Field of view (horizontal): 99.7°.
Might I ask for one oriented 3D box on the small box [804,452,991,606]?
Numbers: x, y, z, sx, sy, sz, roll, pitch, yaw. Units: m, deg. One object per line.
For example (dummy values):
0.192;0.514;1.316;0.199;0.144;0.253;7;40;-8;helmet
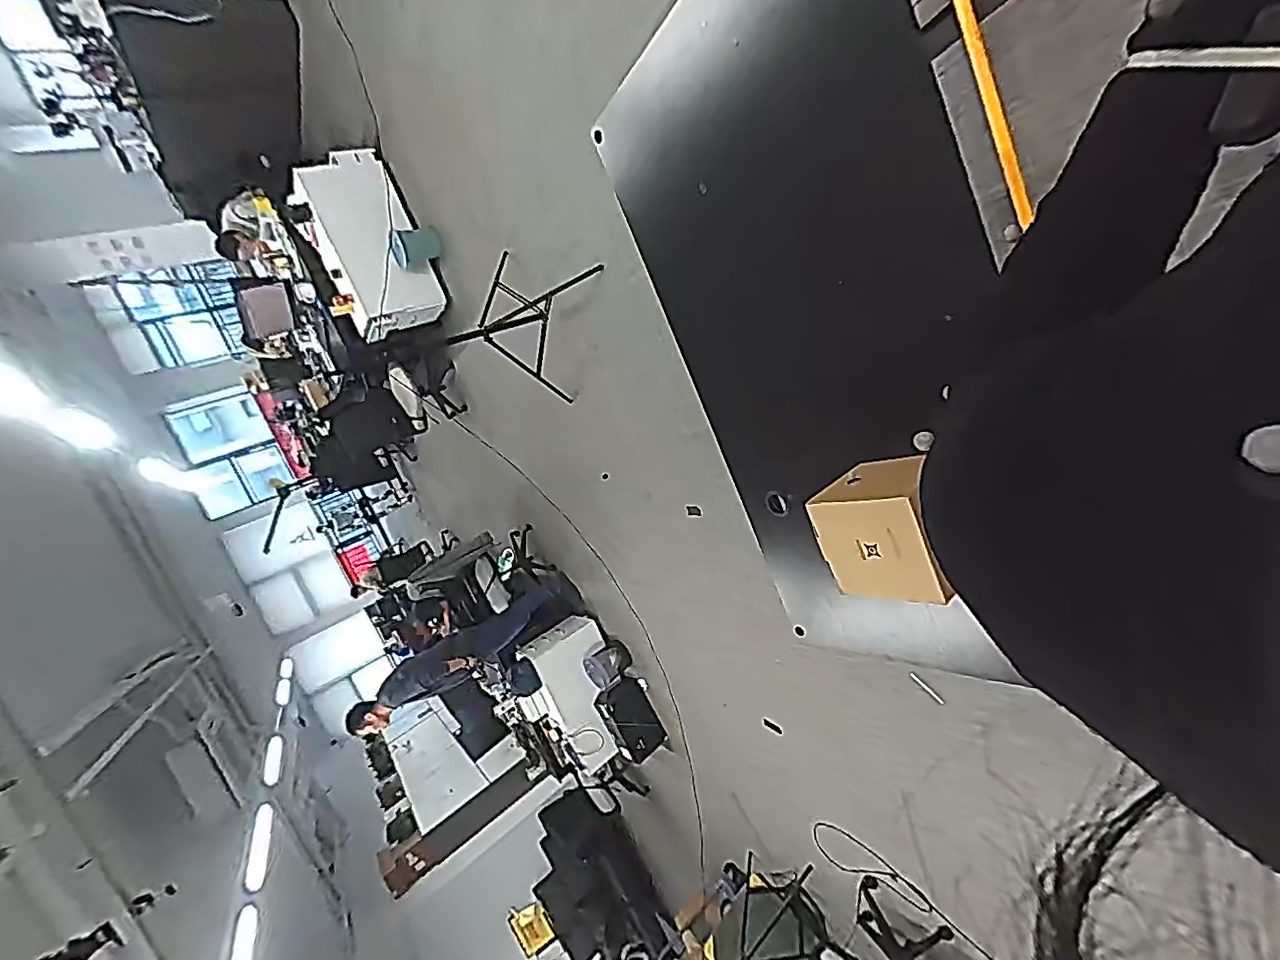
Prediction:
0.391;0.070;0.826;0.179;0.176;0.168;-11;105;57;small box
